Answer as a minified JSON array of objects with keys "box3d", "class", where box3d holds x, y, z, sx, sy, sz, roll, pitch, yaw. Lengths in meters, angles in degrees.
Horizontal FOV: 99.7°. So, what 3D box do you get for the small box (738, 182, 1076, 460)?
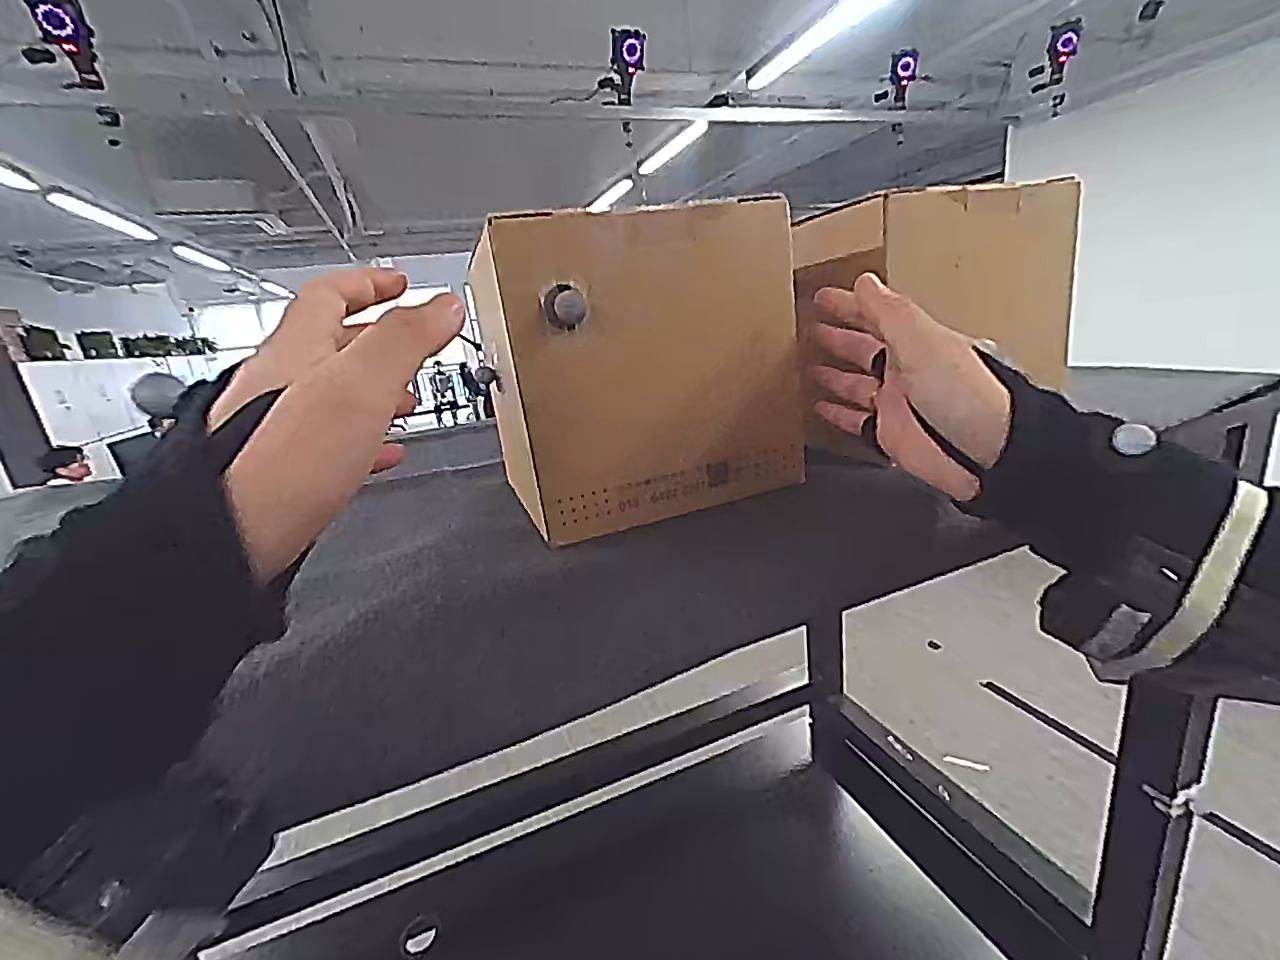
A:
[{"box3d":[0.196,-0.119,0.433,0.168,0.176,0.179,-14,17,-17],"class":"small box"}]
